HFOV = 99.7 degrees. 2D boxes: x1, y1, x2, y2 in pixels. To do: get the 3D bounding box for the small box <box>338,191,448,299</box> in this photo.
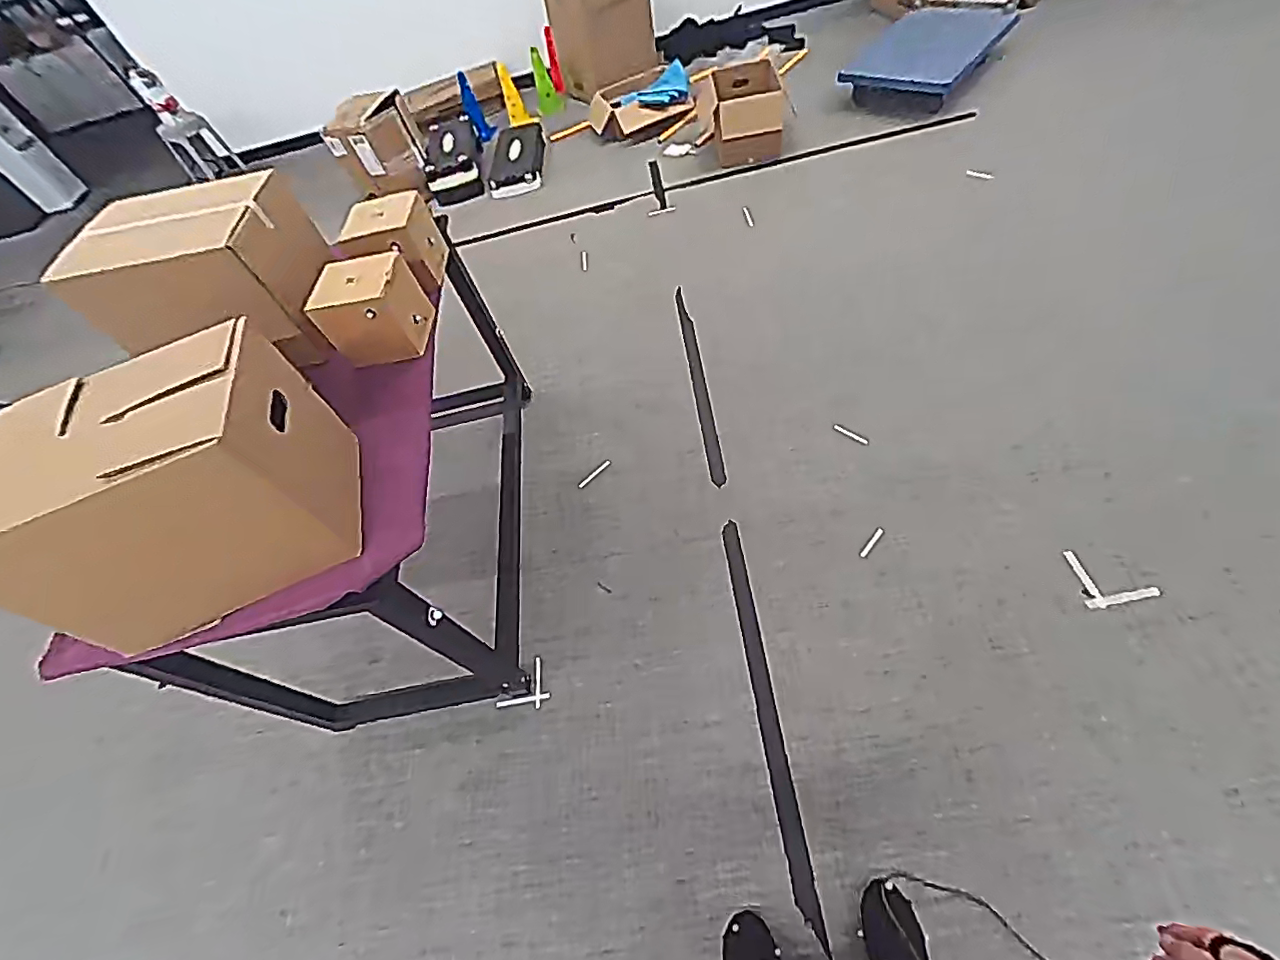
[{"bbox_3d":[-0.605,-0.581,1.350,0.179,0.176,0.168,-10,54,8],"label":"small box"}]
